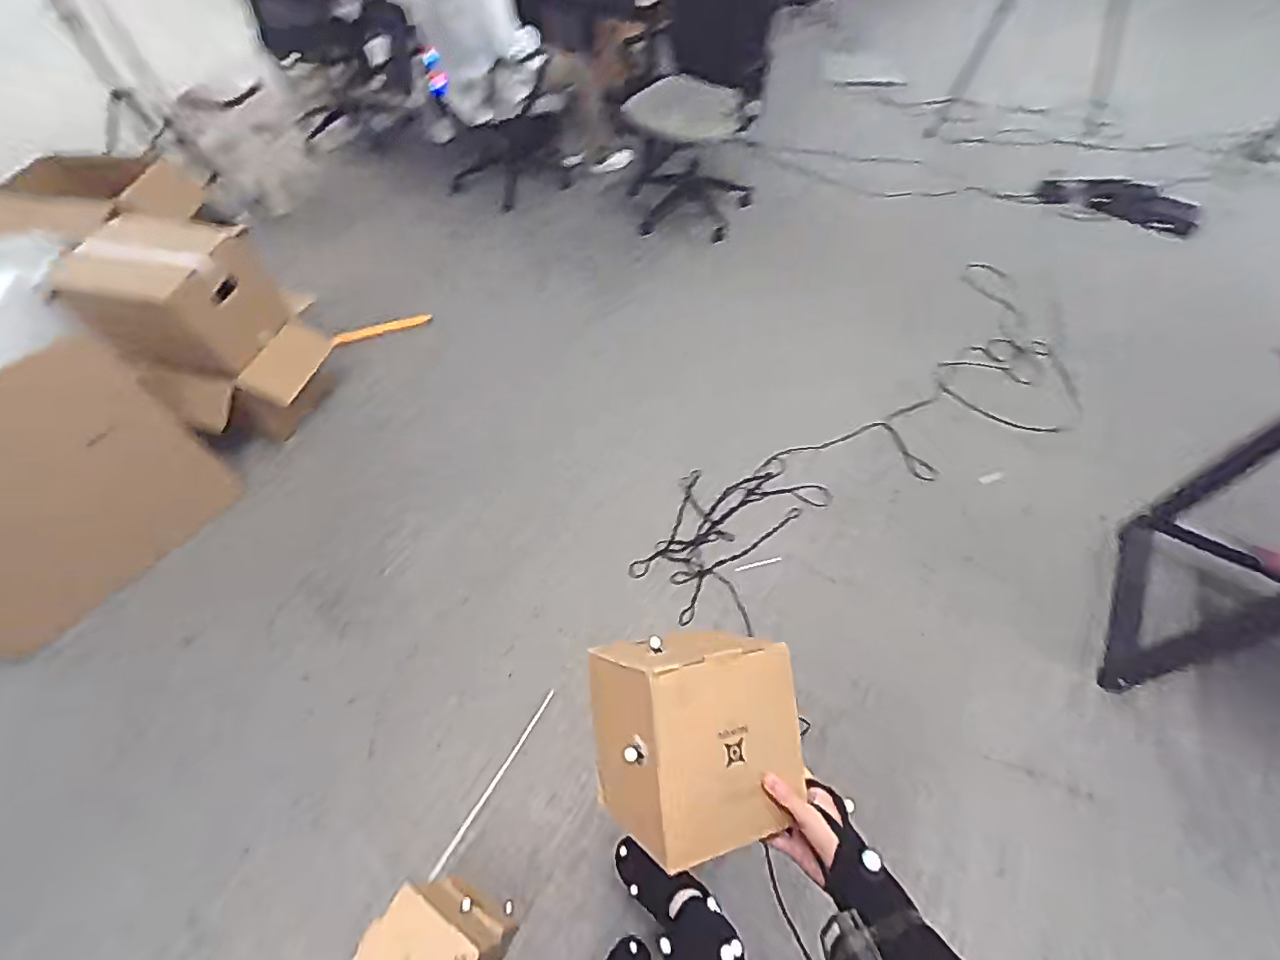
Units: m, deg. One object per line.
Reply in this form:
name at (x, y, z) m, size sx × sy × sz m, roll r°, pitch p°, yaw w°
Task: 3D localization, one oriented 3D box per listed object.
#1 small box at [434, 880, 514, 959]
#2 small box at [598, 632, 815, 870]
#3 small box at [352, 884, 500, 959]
small box at (-0.364, 0.917, 1.051) m, size 0.168 × 0.176 × 0.179 m, roll 25°, pitch 59°, yaw 18°
small box at (0.060, 0.262, 0.579) m, size 0.168 × 0.176 × 0.179 m, roll 1°, pitch 82°, yaw -26°
small box at (-0.368, 0.827, 0.914) m, size 0.179 × 0.176 × 0.168 m, roll 26°, pitch 59°, yaw 19°
